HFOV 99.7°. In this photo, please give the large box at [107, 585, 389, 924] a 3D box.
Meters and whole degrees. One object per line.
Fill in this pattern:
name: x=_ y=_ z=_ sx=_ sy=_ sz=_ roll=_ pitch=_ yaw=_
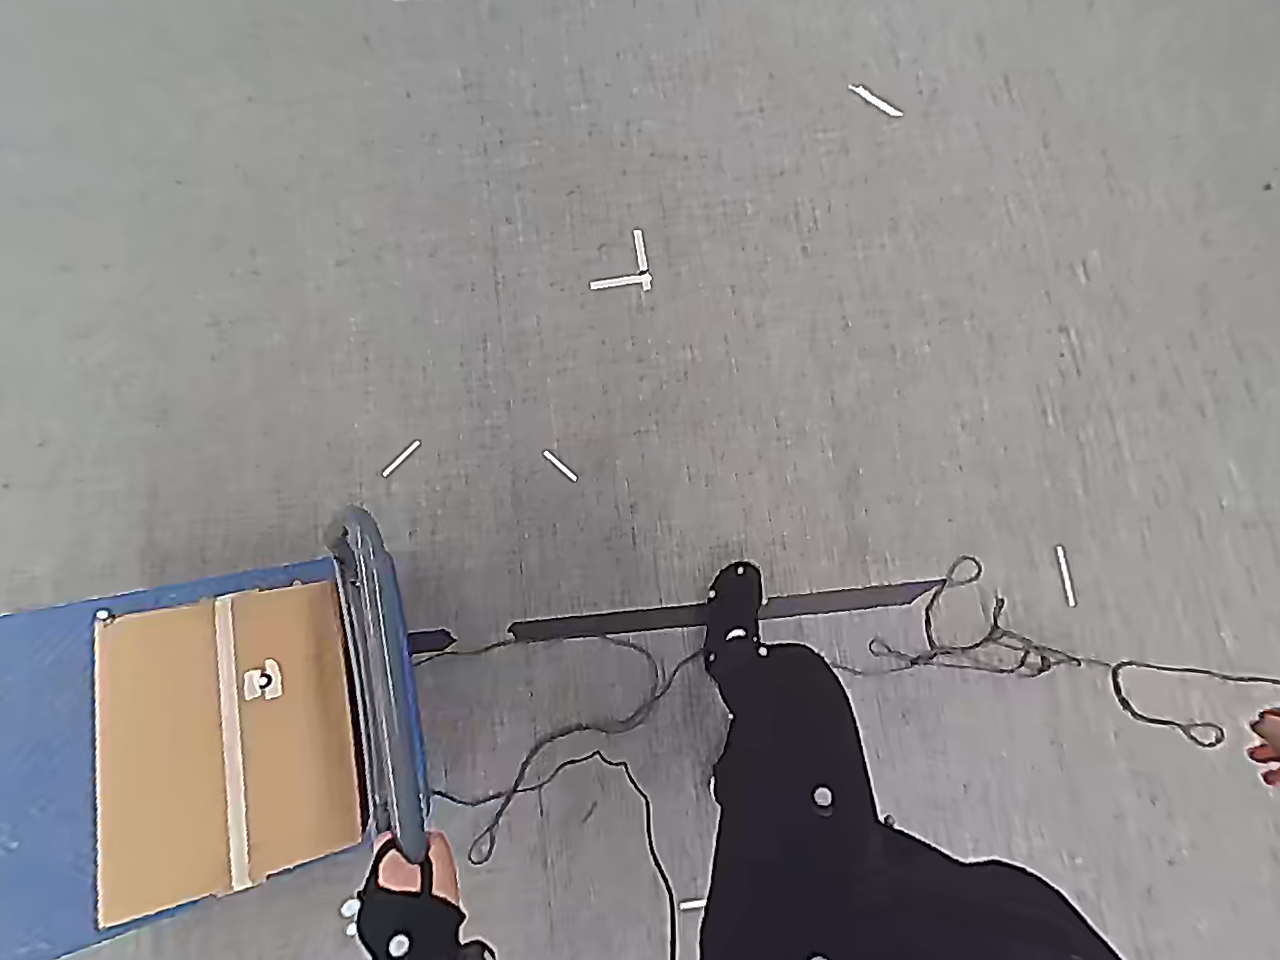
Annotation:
large box: x=-0.645 y=0.424 z=0.945 sx=0.320 sy=0.320 sz=0.408 roll=-8 pitch=78 yaw=-23
